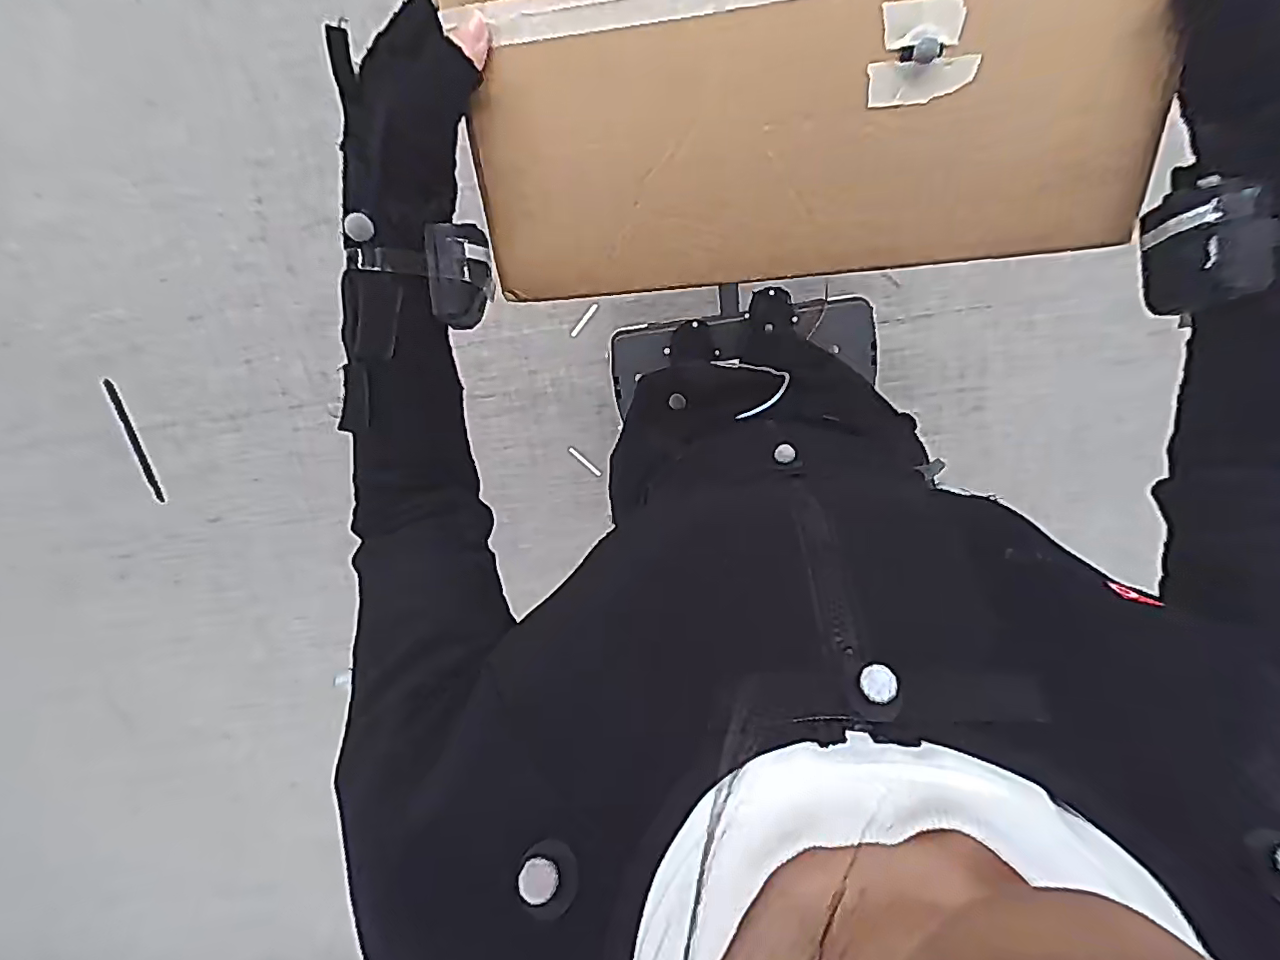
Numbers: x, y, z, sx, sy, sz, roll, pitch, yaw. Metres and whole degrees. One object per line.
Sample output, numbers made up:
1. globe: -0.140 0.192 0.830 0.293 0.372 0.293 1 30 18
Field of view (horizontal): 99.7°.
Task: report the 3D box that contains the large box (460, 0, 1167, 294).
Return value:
1. large box: 0.100 -0.354 0.437 0.408 0.320 0.320 -3 118 8
